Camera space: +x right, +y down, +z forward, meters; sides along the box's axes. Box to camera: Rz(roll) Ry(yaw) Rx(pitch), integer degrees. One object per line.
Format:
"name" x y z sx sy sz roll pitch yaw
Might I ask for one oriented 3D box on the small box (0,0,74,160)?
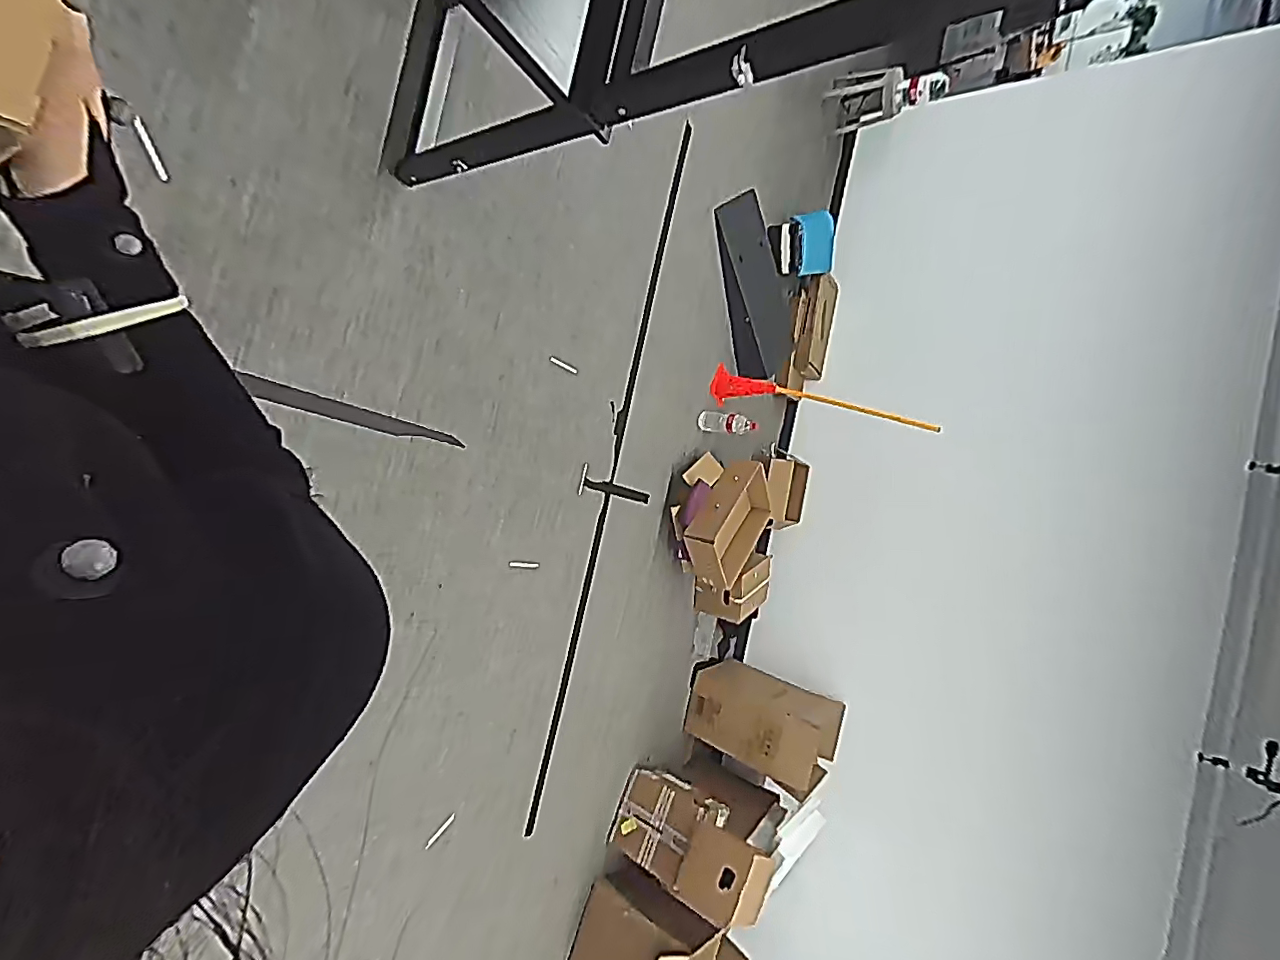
"small box" -0.330 -0.245 0.195 0.168 0.176 0.179 9 95 -56
